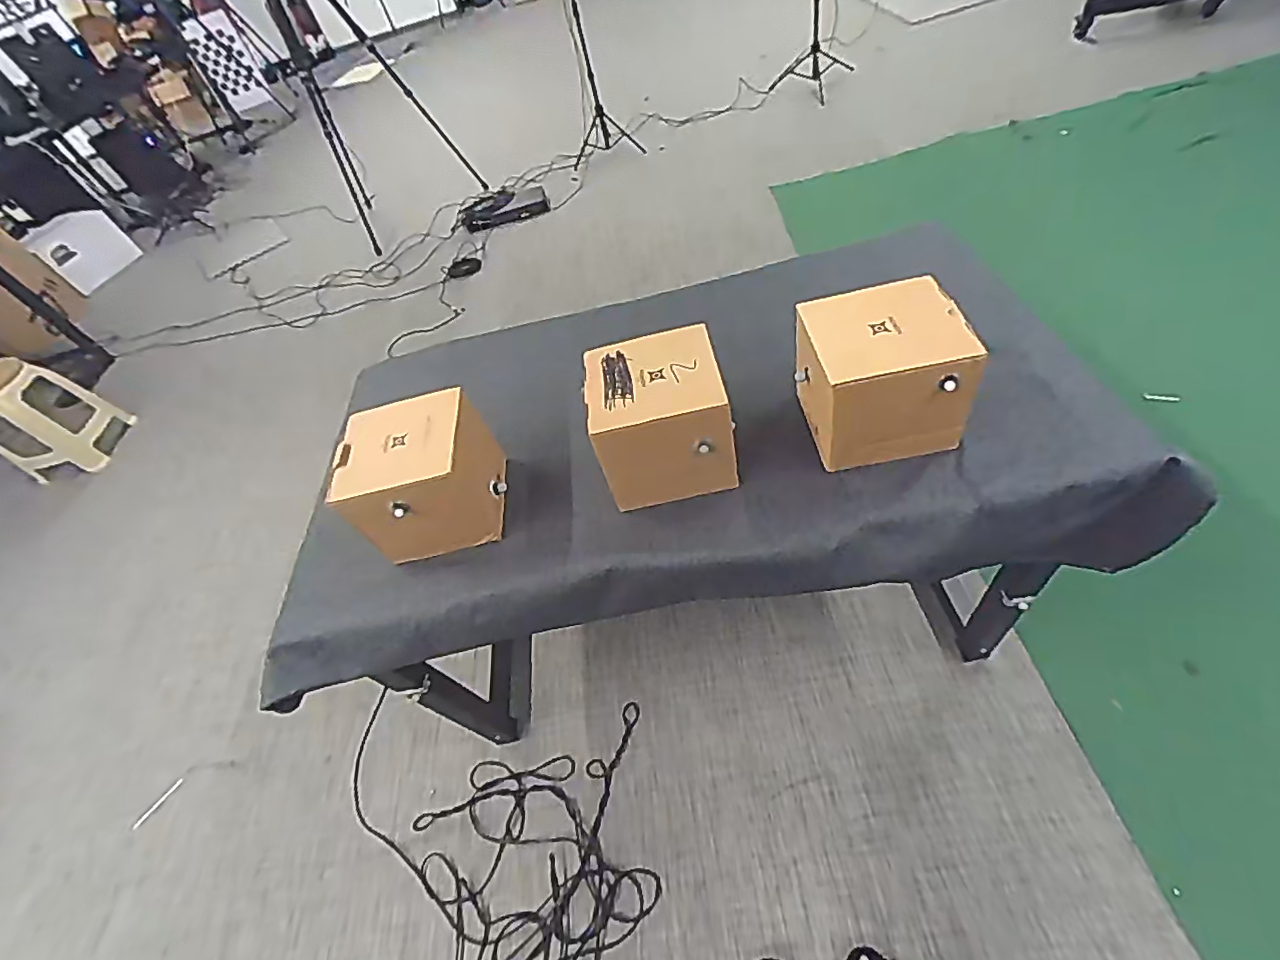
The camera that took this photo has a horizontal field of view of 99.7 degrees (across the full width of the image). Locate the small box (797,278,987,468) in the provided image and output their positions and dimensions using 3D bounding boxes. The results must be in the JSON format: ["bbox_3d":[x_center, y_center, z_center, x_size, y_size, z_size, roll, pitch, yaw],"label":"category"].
[{"bbox_3d":[0.317,-0.135,0.720,0.179,0.176,0.168,-11,50,7],"label":"small box"}]

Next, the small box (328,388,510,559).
[{"bbox_3d":[-0.308,-0.002,0.793,0.179,0.176,0.168,-13,52,4],"label":"small box"}]
